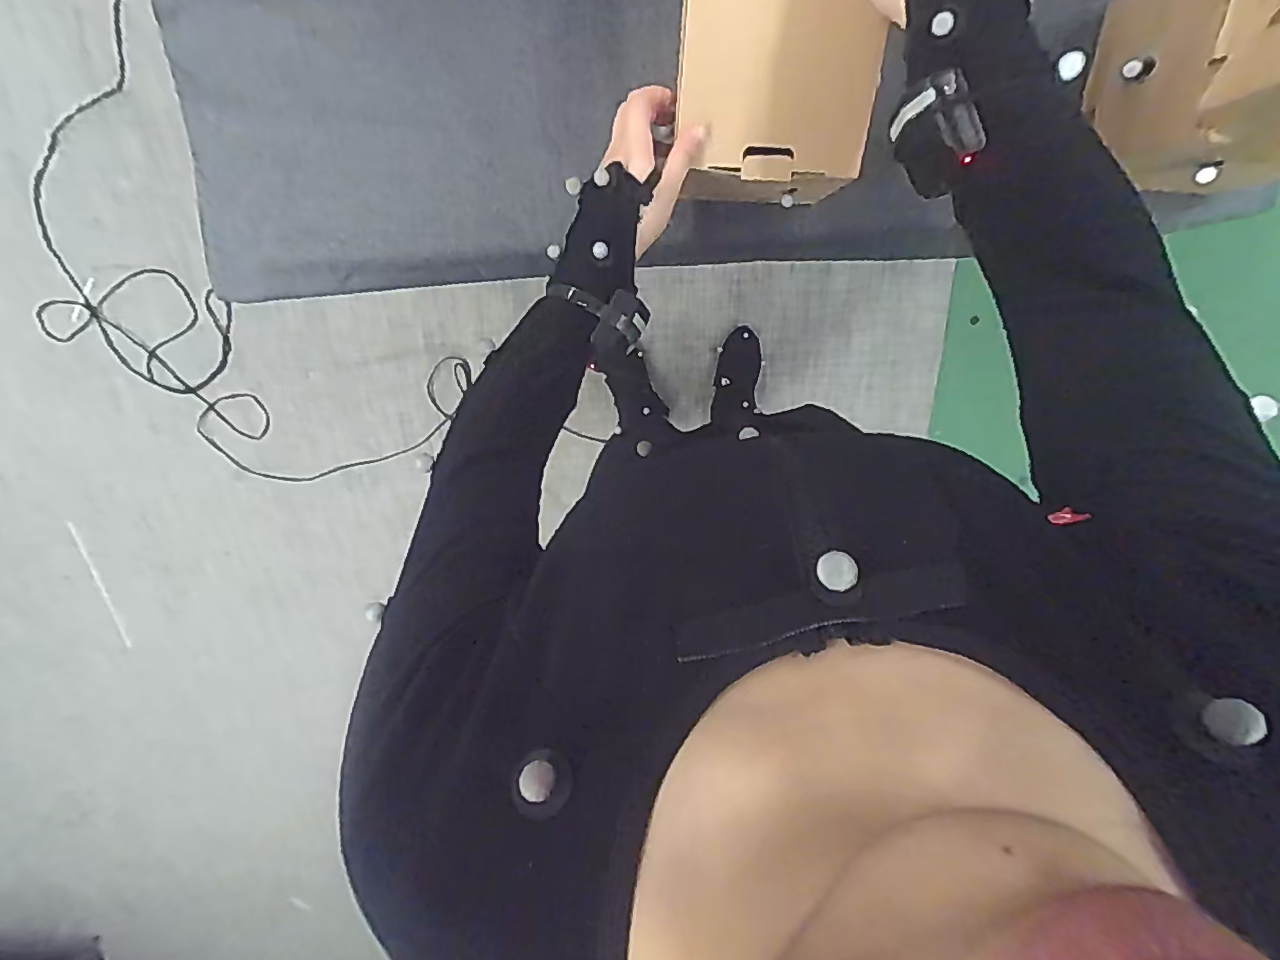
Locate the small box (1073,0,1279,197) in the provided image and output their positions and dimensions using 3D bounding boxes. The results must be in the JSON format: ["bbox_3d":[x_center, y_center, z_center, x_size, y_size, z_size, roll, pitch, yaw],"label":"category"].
[{"bbox_3d":[0.557,-0.368,0.496,0.179,0.176,0.168,4,108,2],"label":"small box"}]

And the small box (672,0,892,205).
[{"bbox_3d":[0.120,-0.370,0.517,0.168,0.176,0.179,3,109,2],"label":"small box"}]

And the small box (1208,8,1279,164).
[{"bbox_3d":[0.554,-0.302,0.346,0.179,0.176,0.168,24,107,-6],"label":"small box"}]
